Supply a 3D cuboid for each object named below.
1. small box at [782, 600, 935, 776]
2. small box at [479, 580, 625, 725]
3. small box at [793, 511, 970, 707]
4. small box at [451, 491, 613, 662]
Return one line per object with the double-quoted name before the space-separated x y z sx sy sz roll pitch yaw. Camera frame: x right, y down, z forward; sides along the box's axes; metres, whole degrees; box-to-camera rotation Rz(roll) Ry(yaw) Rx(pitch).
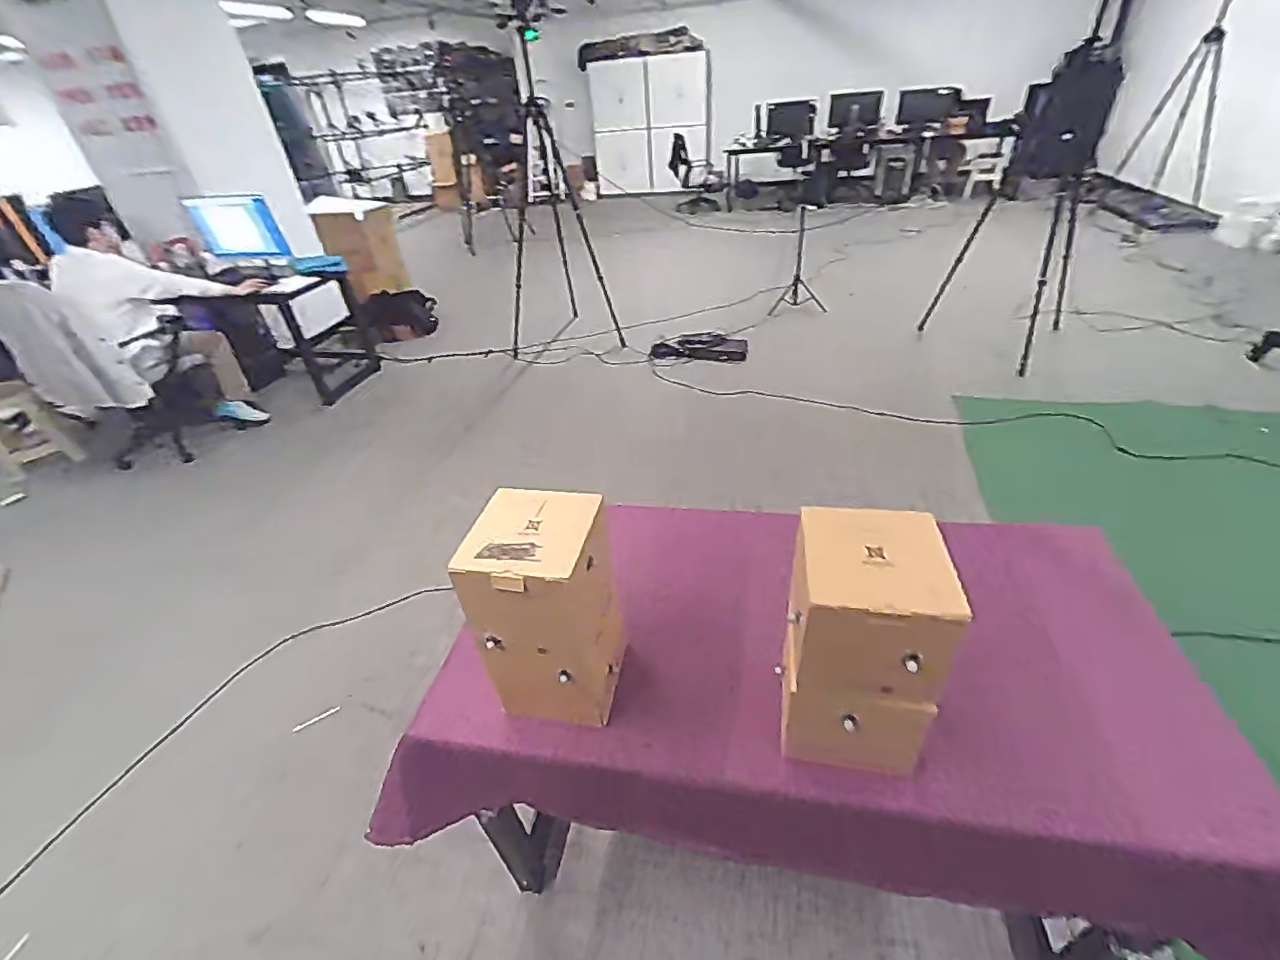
"small box" 0.300 0.297 0.780 0.179 0.176 0.168 4 38 13
"small box" -0.130 0.271 0.876 0.179 0.176 0.168 4 37 11
"small box" 0.289 0.162 0.690 0.168 0.176 0.179 3 36 11
"small box" -0.140 0.137 0.781 0.168 0.176 0.179 4 35 11
